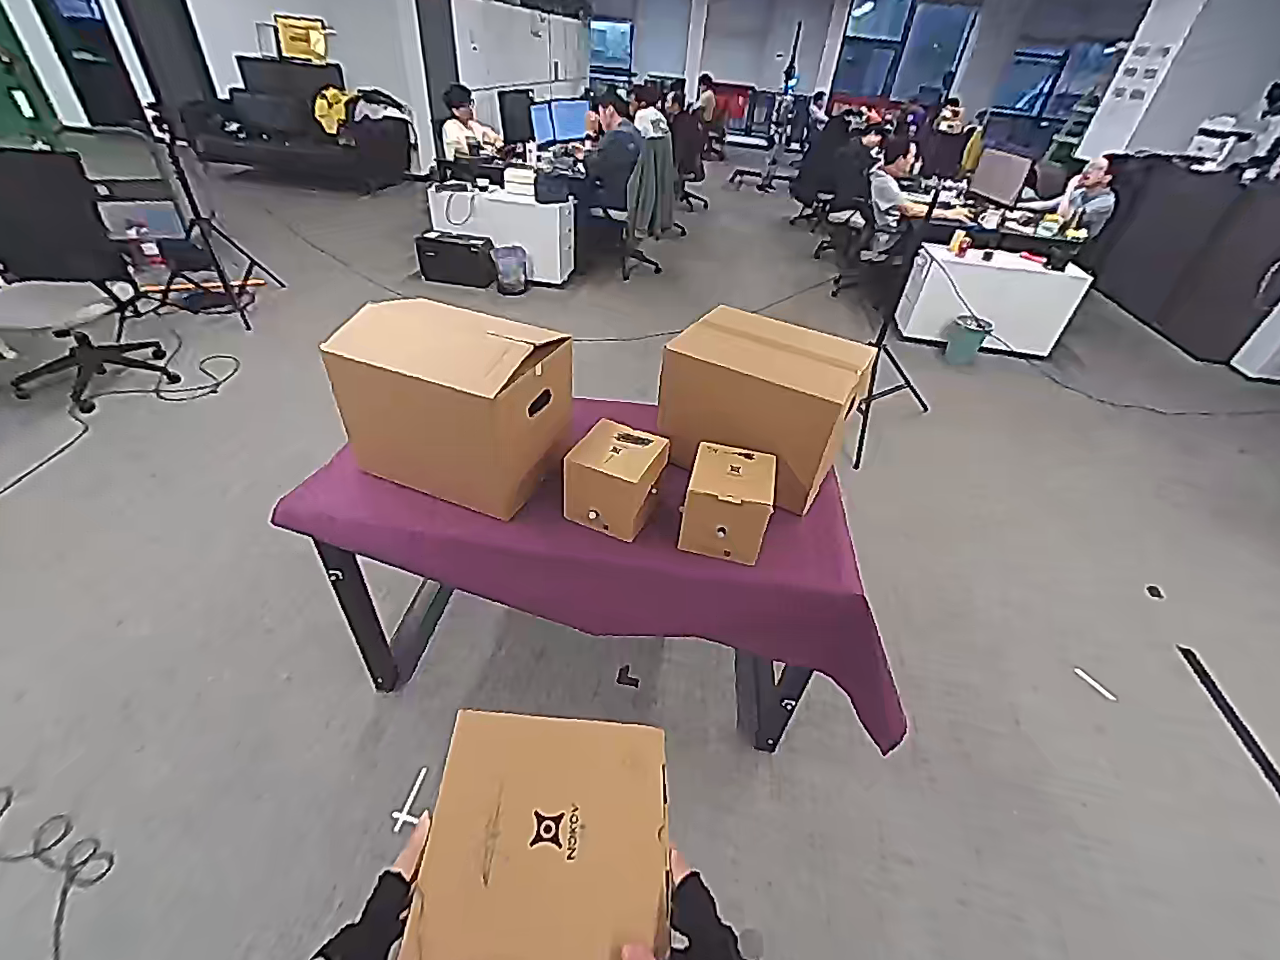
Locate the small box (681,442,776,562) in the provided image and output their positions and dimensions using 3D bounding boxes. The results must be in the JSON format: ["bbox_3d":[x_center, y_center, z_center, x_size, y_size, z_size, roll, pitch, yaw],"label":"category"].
[{"bbox_3d":[0.184,0.048,1.138,0.168,0.176,0.179,12,39,7],"label":"small box"}]
